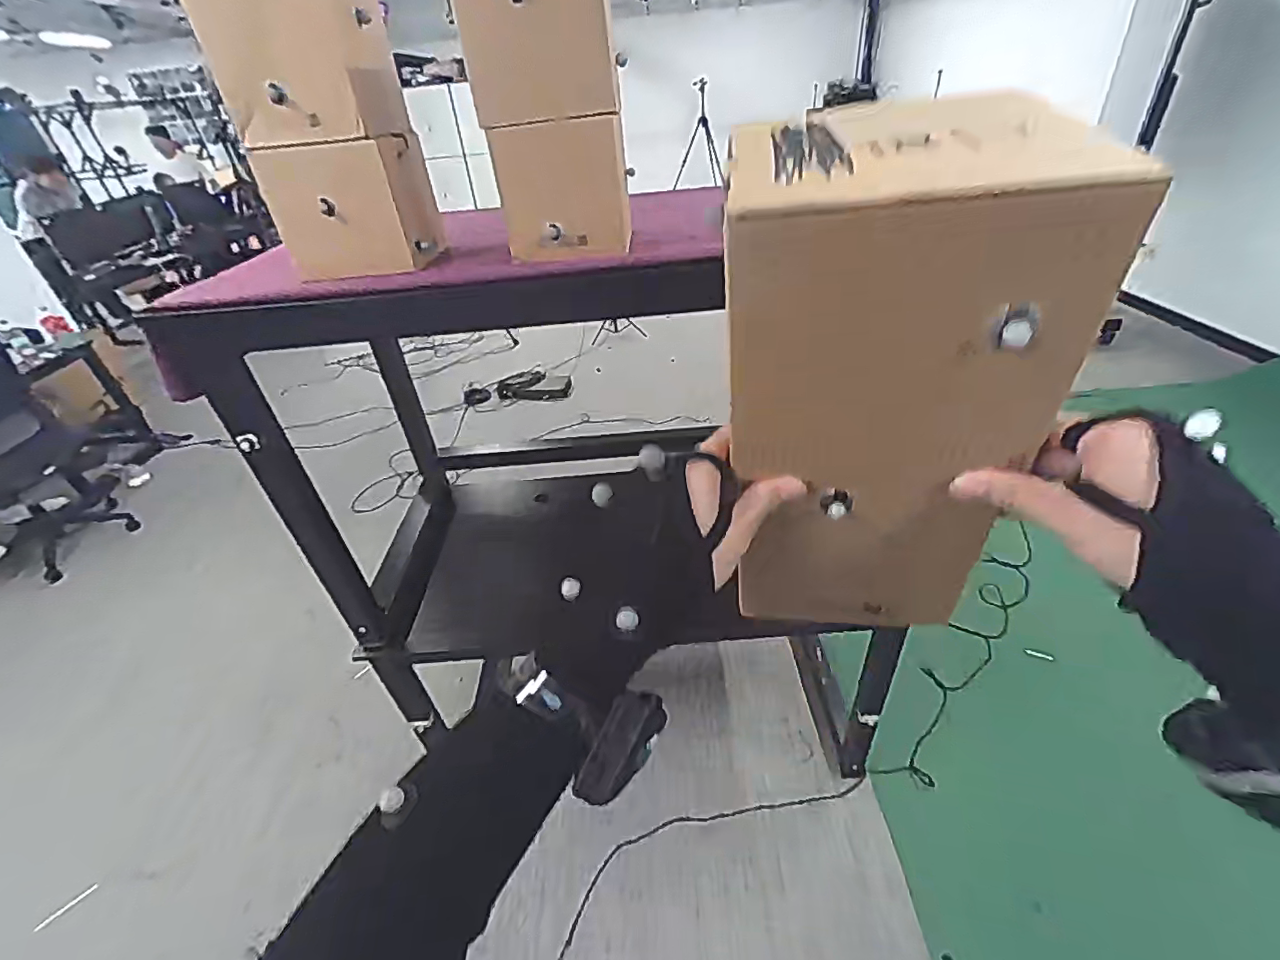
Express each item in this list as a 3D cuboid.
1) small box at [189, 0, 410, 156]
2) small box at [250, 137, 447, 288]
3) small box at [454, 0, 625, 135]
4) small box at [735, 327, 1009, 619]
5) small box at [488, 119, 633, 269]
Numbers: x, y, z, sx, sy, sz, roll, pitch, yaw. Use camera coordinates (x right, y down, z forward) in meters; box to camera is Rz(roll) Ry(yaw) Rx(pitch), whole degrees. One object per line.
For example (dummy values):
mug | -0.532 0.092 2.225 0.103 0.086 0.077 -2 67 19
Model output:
small box | -0.427 -0.533 0.714 0.168 0.176 0.179 -5 35 2
small box | -0.409 -0.395 0.799 0.179 0.176 0.168 -5 35 3
small box | -0.120 -0.547 0.689 0.179 0.176 0.168 -5 35 4
small box | 0.166 -0.008 0.453 0.168 0.176 0.179 0 43 12
small box | -0.101 -0.416 0.786 0.168 0.176 0.179 -4 35 5
